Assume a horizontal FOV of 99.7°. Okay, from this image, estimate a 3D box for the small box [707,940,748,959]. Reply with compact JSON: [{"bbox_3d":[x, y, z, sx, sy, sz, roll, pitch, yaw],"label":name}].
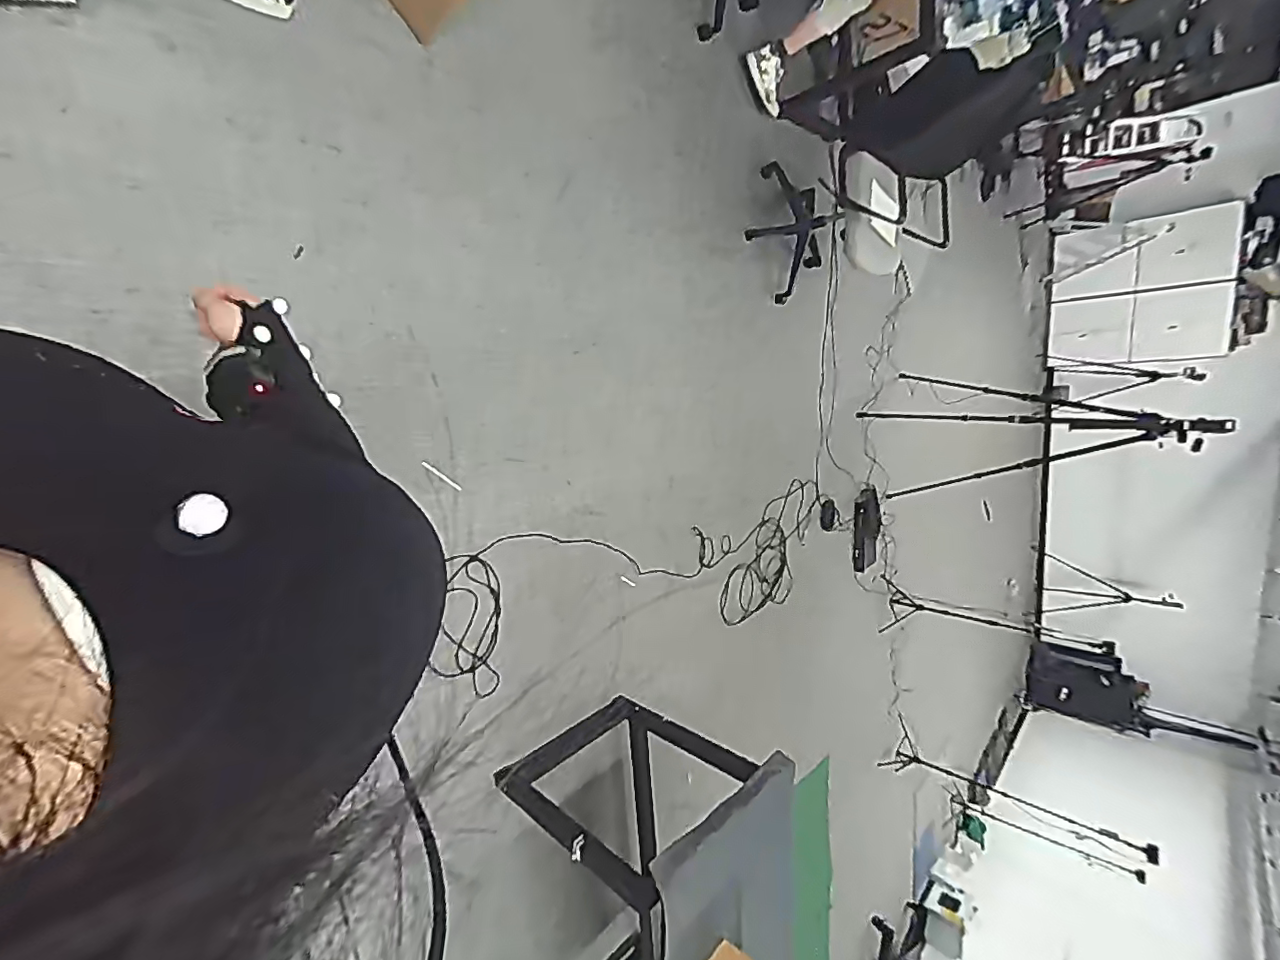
[{"bbox_3d":[0.228,1.343,1.374,0.179,0.176,0.168,-14,104,-45],"label":"small box"}]
